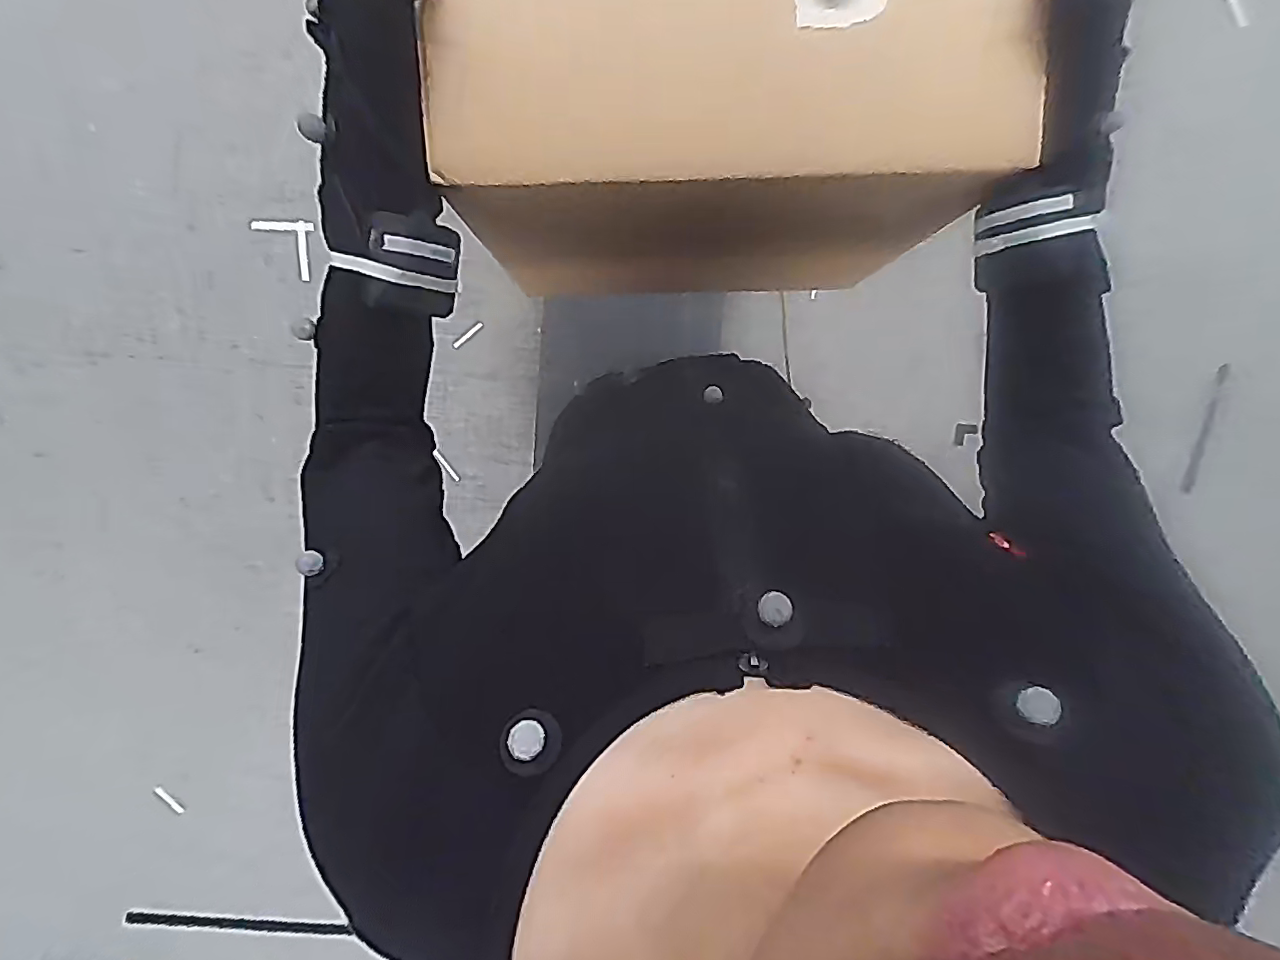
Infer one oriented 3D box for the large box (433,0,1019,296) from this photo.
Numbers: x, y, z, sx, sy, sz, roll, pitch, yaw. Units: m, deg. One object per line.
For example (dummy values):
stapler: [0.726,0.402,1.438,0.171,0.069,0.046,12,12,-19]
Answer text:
large box: [0.053,-0.374,0.509,0.408,0.320,0.320,-2,95,-1]
